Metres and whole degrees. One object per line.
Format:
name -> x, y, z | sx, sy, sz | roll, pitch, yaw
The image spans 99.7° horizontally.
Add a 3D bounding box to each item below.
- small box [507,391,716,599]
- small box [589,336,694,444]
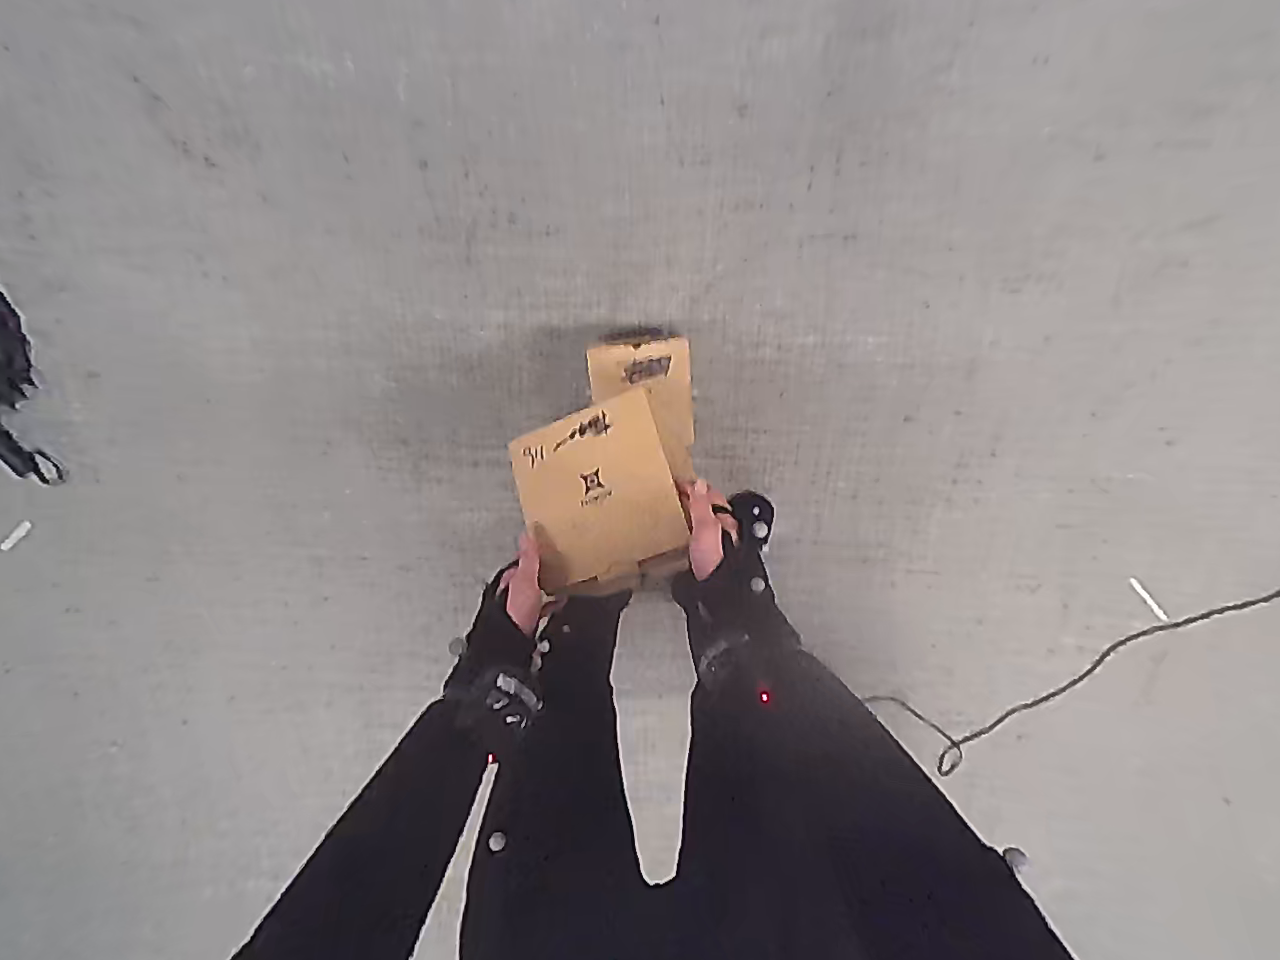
small box -> -0.023, 0.026, 0.623 | 0.168, 0.176, 0.179 | -21, 75, 13
small box -> 0.005, -0.162, 0.965 | 0.168, 0.176, 0.179 | -4, 108, 3
